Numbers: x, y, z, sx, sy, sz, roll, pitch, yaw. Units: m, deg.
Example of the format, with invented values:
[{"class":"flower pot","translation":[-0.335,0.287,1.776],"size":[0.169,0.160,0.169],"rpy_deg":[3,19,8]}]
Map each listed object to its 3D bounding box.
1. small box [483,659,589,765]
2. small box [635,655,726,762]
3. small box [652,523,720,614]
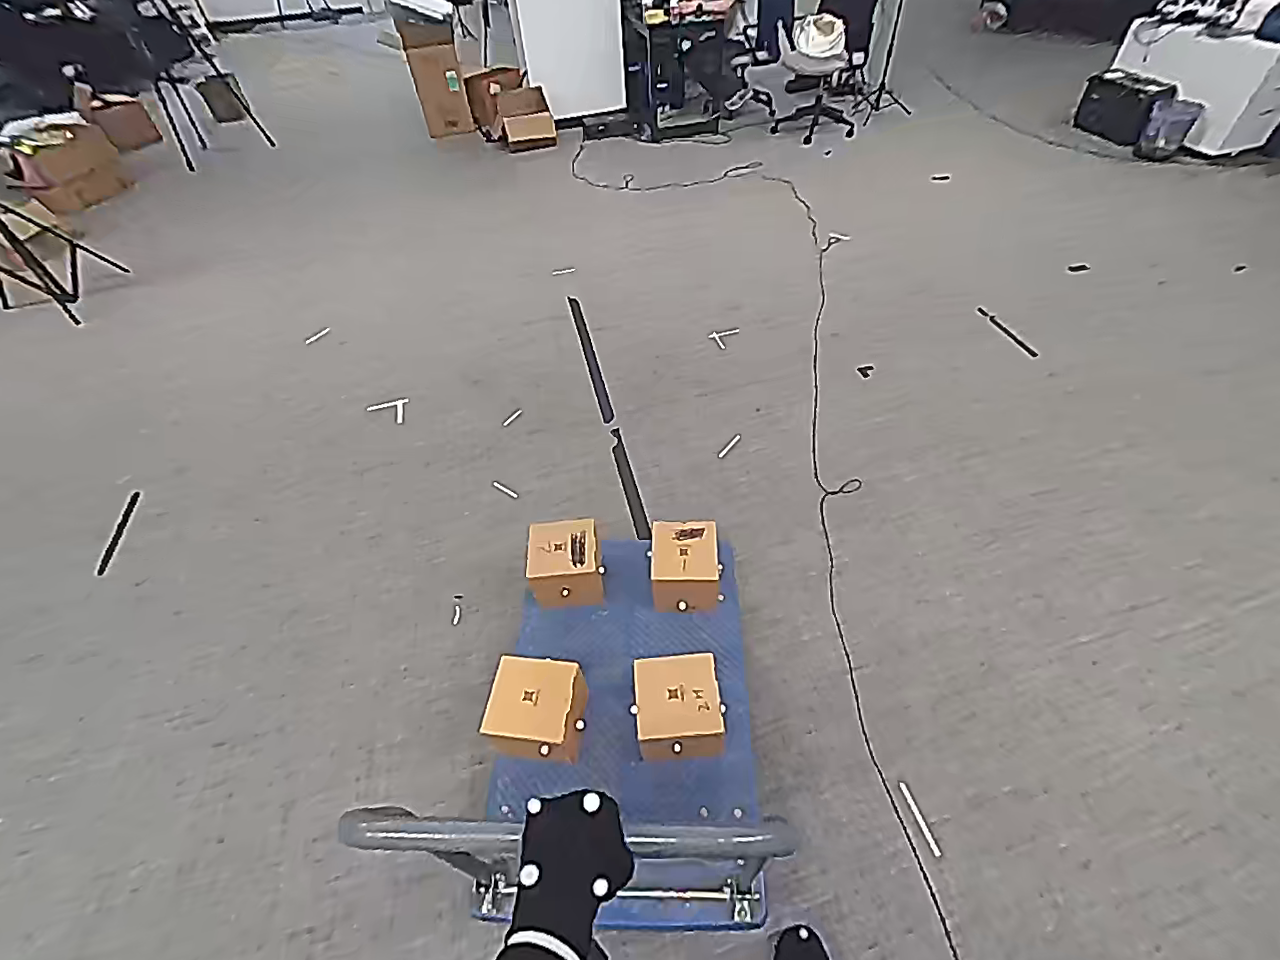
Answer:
[{"class":"small box","translation":[-0.220,0.515,1.195],"size":[0.179,0.176,0.168],"rpy_deg":[3,49,6]},{"class":"small box","translation":[0.087,0.501,1.177],"size":[0.179,0.176,0.168],"rpy_deg":[-5,49,1]},{"class":"small box","translation":[0.119,0.230,1.411],"size":[0.168,0.176,0.179],"rpy_deg":[-1,50,5]}]
